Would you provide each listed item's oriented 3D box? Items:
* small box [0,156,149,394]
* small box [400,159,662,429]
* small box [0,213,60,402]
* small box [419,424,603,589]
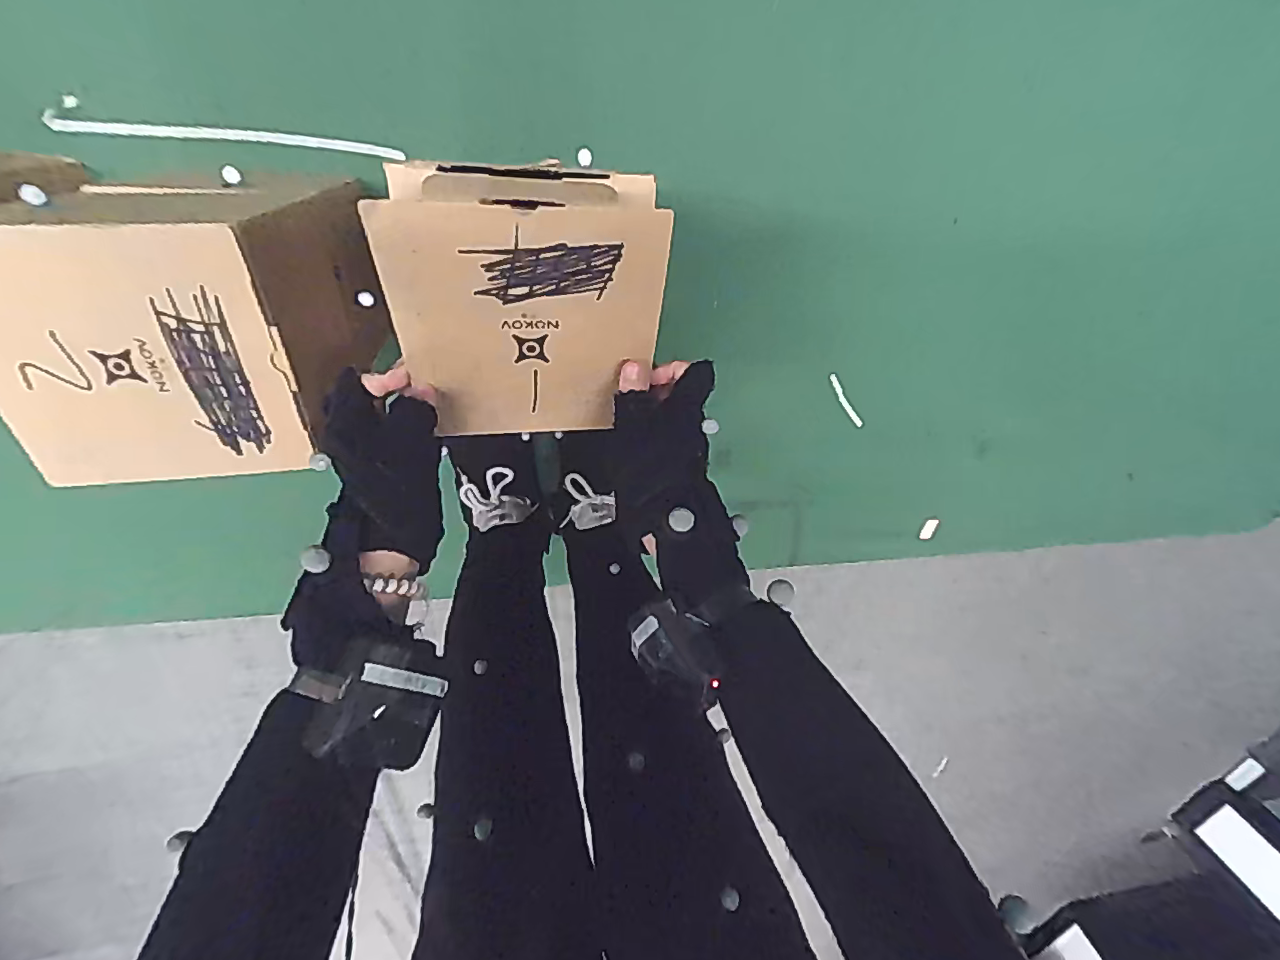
[{"bbox_3d":[-0.617,-0.198,0.504,0.168,0.176,0.179,2,121,-13],"label":"small box"},{"bbox_3d":[-0.084,-0.157,0.444,0.168,0.176,0.179,-3,121,-10],"label":"small box"},{"bbox_3d":[-0.579,-0.120,0.363,0.179,0.176,0.168,1,122,-12],"label":"small box"},{"bbox_3d":[-0.179,0.015,0.753,0.179,0.176,0.168,35,121,-10],"label":"small box"}]
